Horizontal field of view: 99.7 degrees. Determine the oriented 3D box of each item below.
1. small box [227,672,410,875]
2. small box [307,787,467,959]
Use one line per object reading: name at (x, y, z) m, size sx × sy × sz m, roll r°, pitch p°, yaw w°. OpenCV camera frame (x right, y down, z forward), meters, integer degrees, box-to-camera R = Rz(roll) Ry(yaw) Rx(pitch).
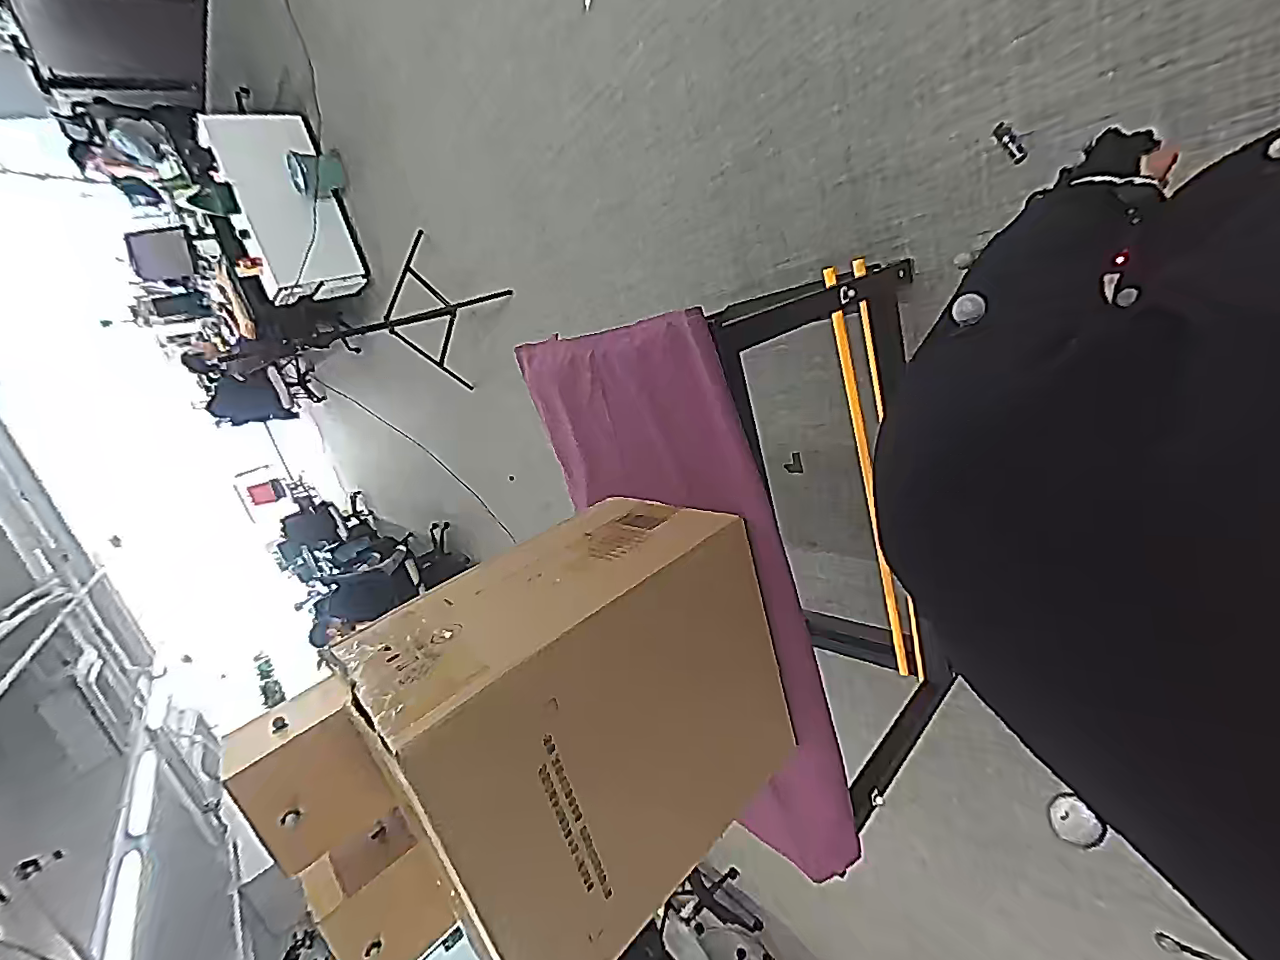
small box at (-0.479, 0.420, 0.811) m, size 0.168 × 0.176 × 0.179 m, roll -2°, pitch 113°, yaw 53°
small box at (-0.404, 0.645, 0.869) m, size 0.168 × 0.176 × 0.179 m, roll 2°, pitch 113°, yaw 50°
